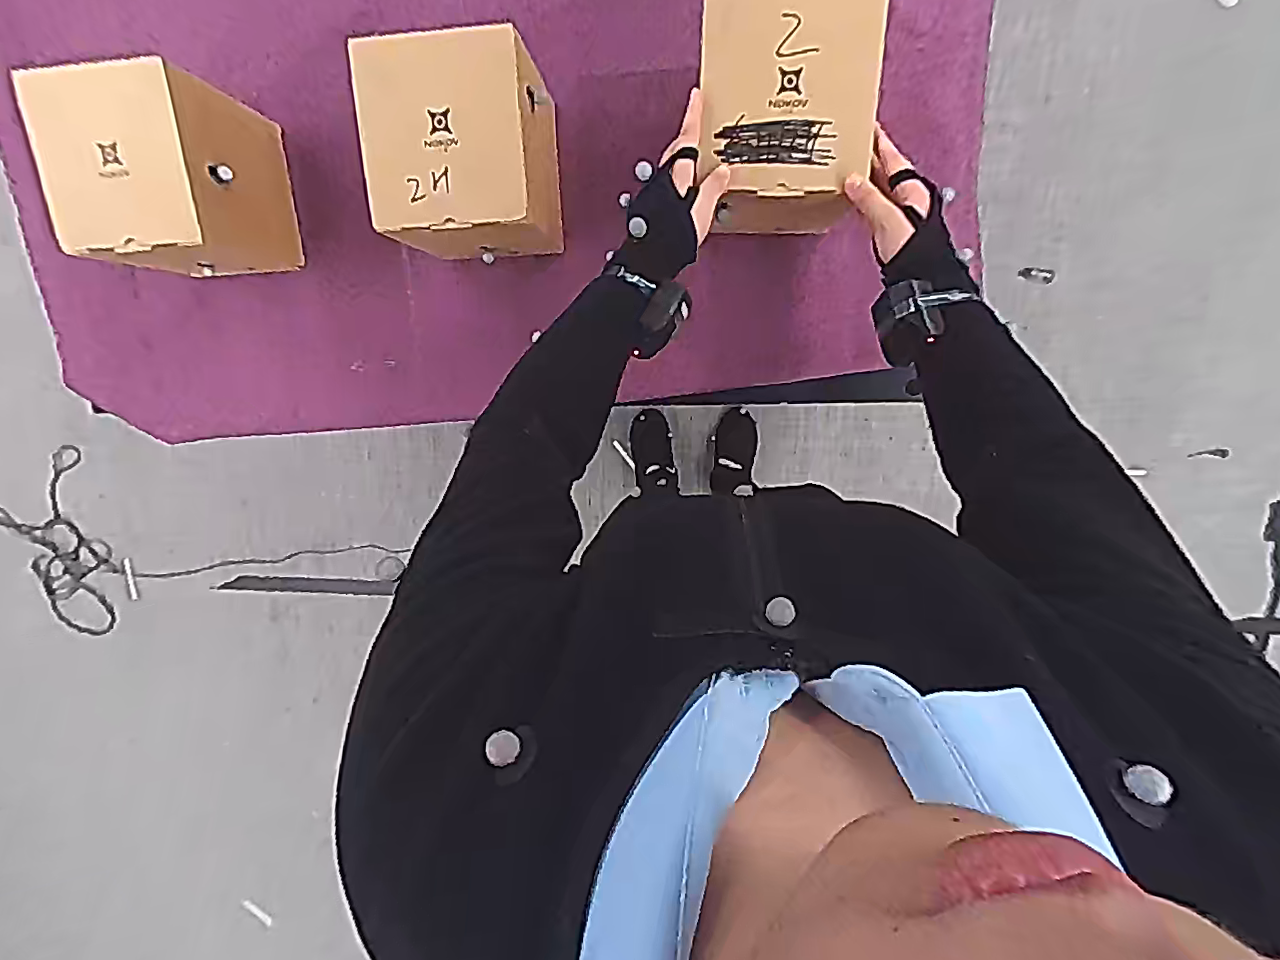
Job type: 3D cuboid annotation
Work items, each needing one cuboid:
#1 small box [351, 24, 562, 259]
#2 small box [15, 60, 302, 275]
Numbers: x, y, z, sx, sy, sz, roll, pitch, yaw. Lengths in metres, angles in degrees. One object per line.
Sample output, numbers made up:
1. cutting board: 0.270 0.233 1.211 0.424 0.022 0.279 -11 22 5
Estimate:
1. small box: -0.189 -0.359 0.608 0.168 0.176 0.179 -1 103 5
2. small box: -0.541 -0.349 0.637 0.168 0.176 0.179 -2 104 4
